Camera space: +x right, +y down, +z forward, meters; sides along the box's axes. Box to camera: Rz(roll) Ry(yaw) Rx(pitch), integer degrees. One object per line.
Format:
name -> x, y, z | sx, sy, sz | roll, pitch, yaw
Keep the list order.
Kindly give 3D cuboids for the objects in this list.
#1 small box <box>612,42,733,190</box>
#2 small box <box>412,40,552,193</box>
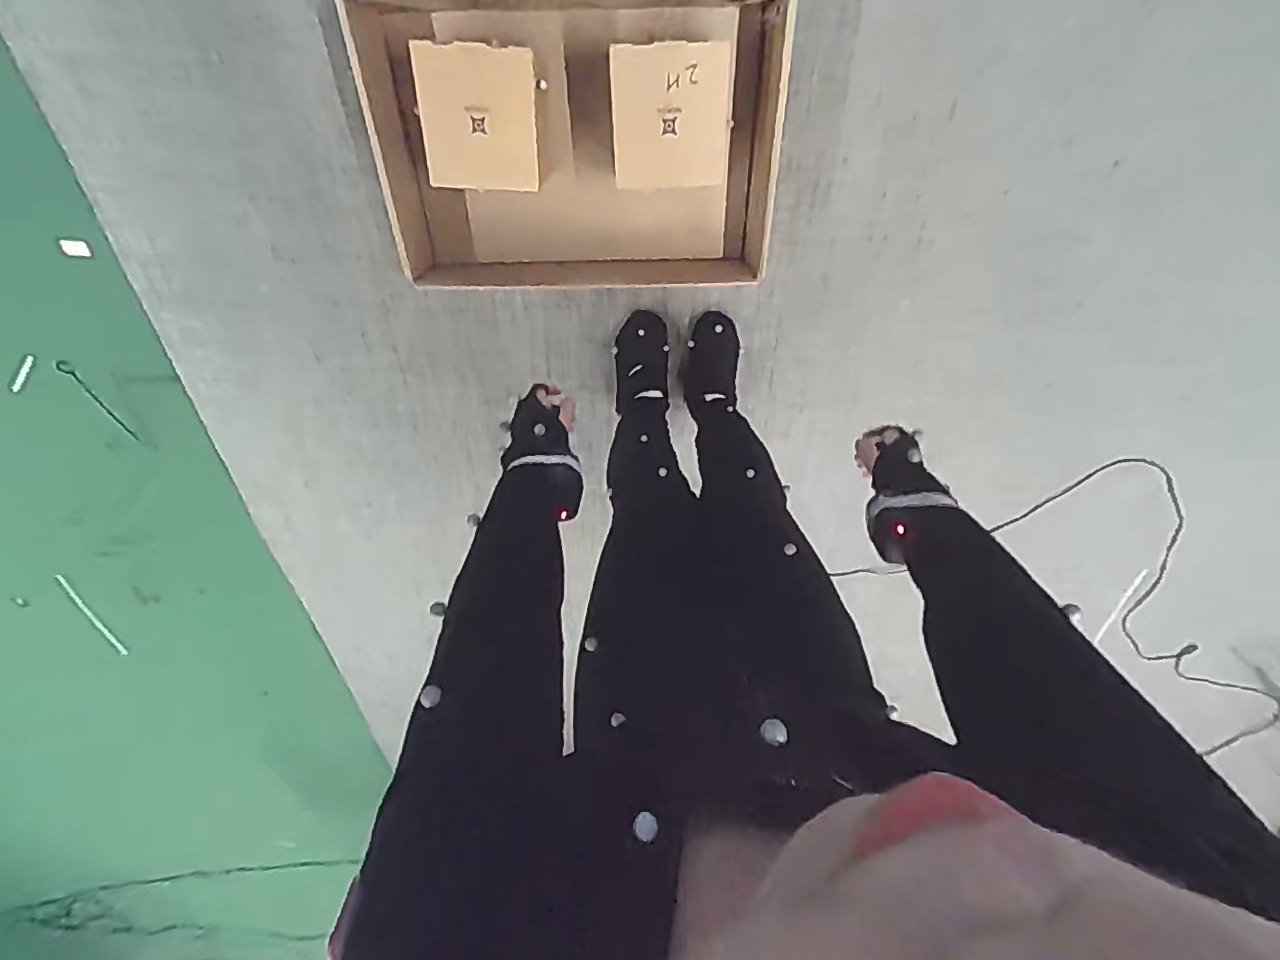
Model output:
small box -> 0.045, -0.561, 0.835 | 0.168, 0.176, 0.179 | -1, 126, 0
small box -> -0.230, -0.559, 0.837 | 0.168, 0.176, 0.179 | 2, 125, -3
